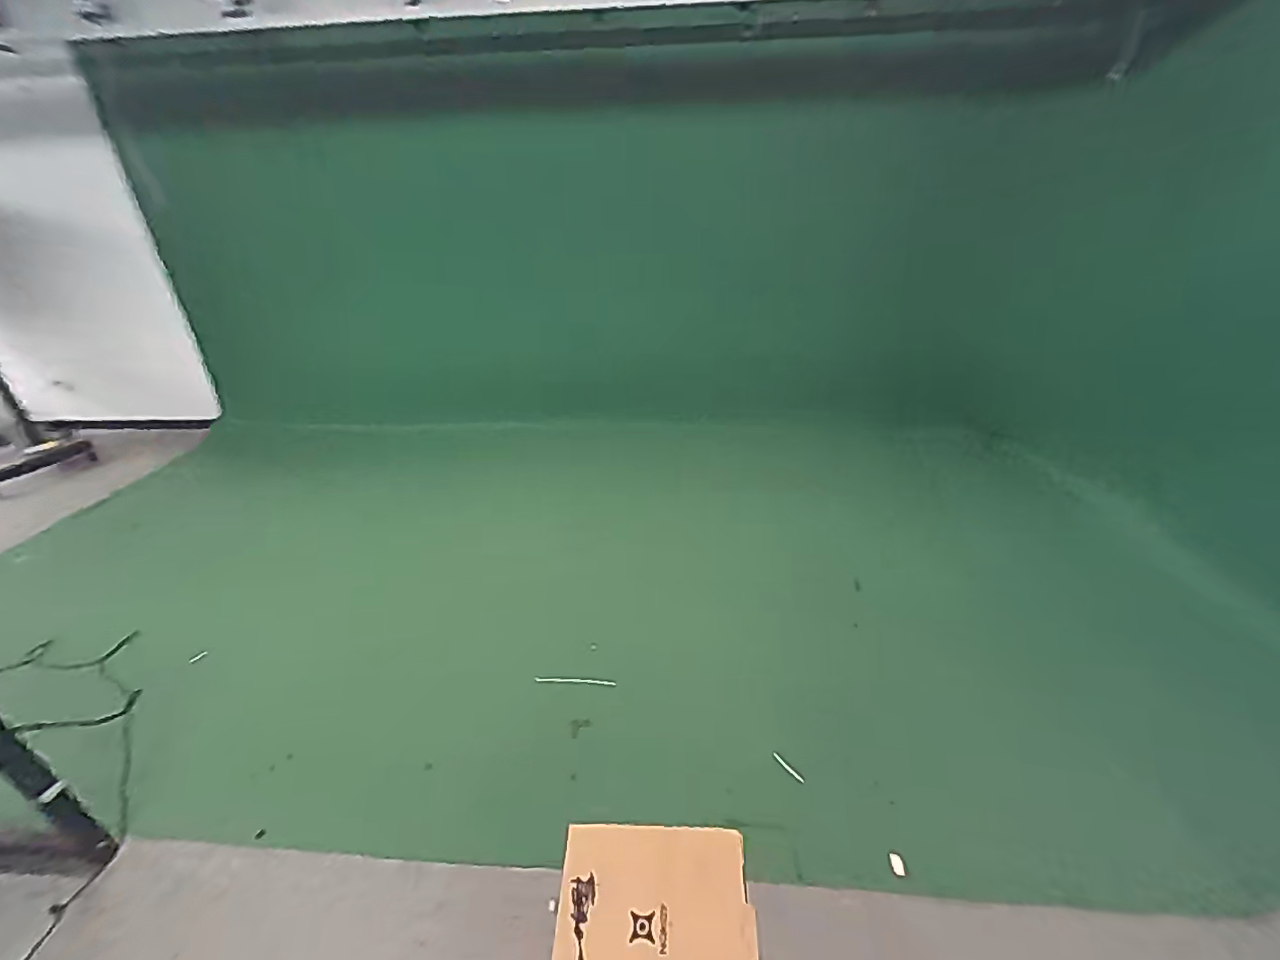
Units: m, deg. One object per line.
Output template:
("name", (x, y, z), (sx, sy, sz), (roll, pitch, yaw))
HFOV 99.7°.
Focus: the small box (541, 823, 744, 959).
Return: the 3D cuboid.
("small box", (0.004, 0.460, 0.520), (0.179, 0.176, 0.168), (1, 35, 3))
